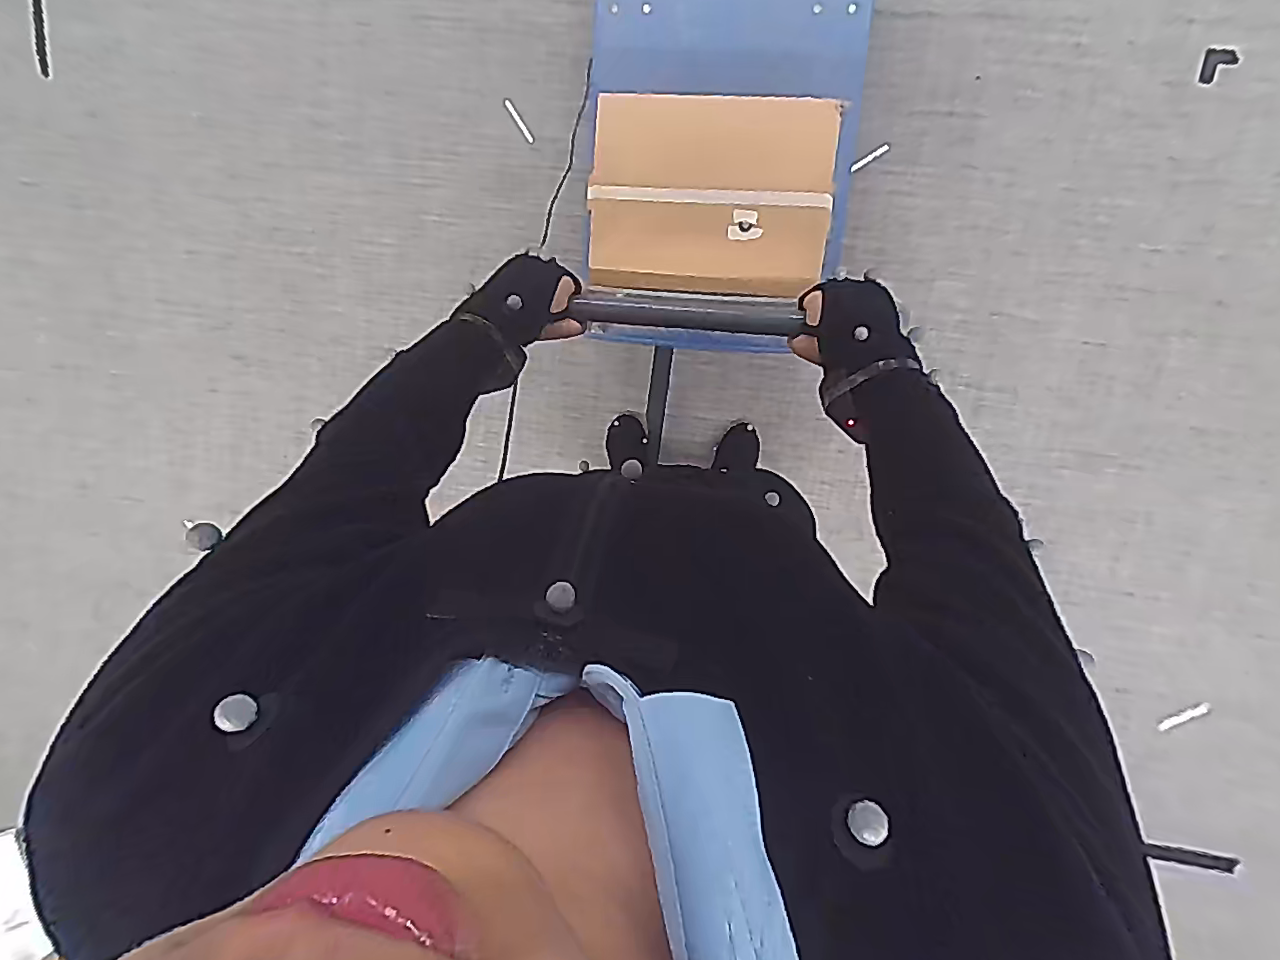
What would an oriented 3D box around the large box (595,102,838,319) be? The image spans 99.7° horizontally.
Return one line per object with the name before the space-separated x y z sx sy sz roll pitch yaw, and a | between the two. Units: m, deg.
large box | 0.137 -0.508 1.083 0.408 0.320 0.320 5 101 5
